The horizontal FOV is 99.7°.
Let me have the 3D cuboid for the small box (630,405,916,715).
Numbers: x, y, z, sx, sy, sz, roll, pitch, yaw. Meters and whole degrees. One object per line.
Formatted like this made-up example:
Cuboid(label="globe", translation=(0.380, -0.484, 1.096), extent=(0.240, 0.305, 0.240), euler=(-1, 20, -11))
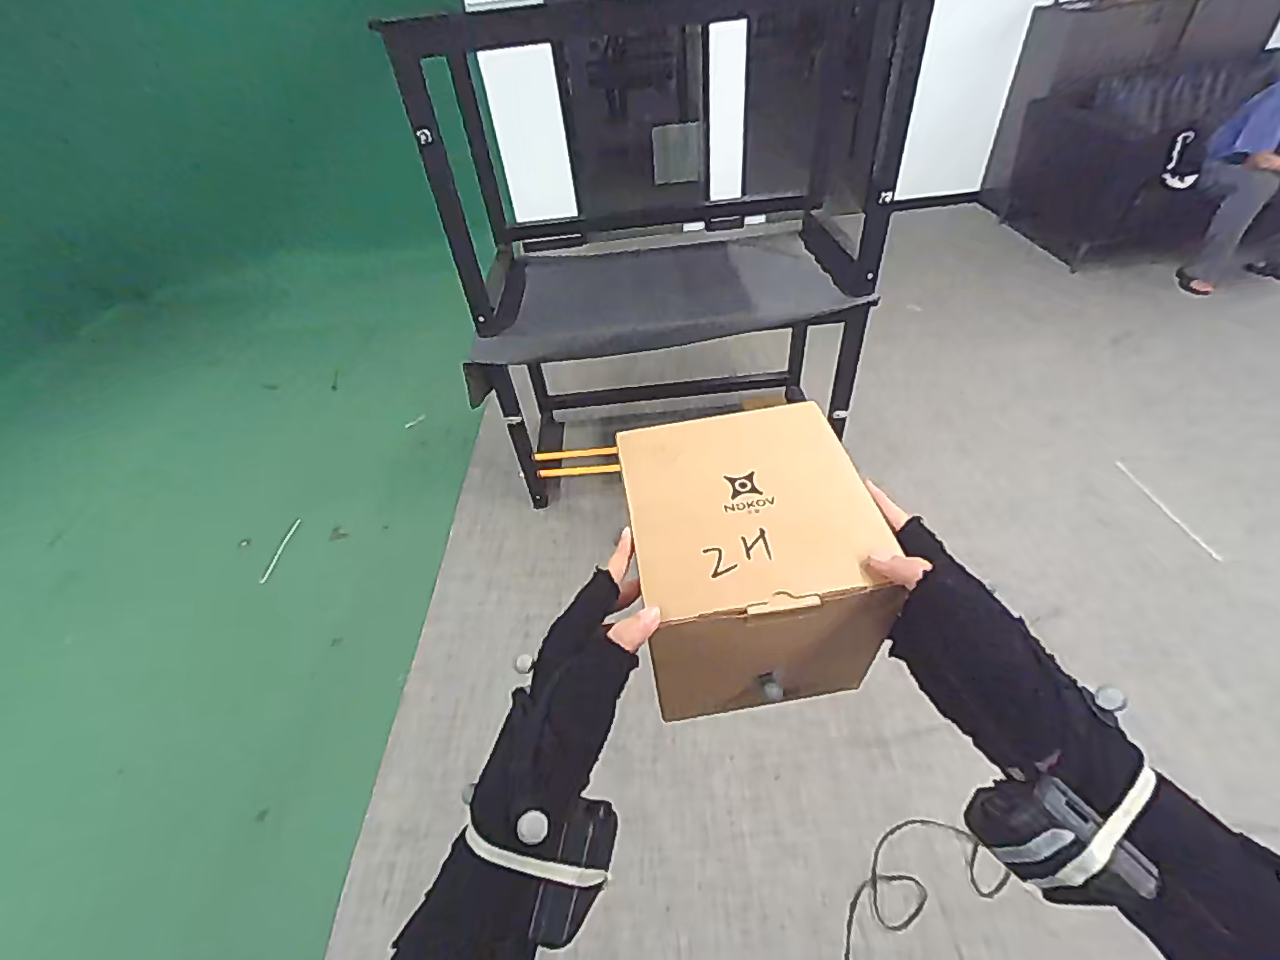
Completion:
Cuboid(label="small box", translation=(0.087, 0.065, 0.444), extent=(0.168, 0.176, 0.179), euler=(-9, 46, -1))
